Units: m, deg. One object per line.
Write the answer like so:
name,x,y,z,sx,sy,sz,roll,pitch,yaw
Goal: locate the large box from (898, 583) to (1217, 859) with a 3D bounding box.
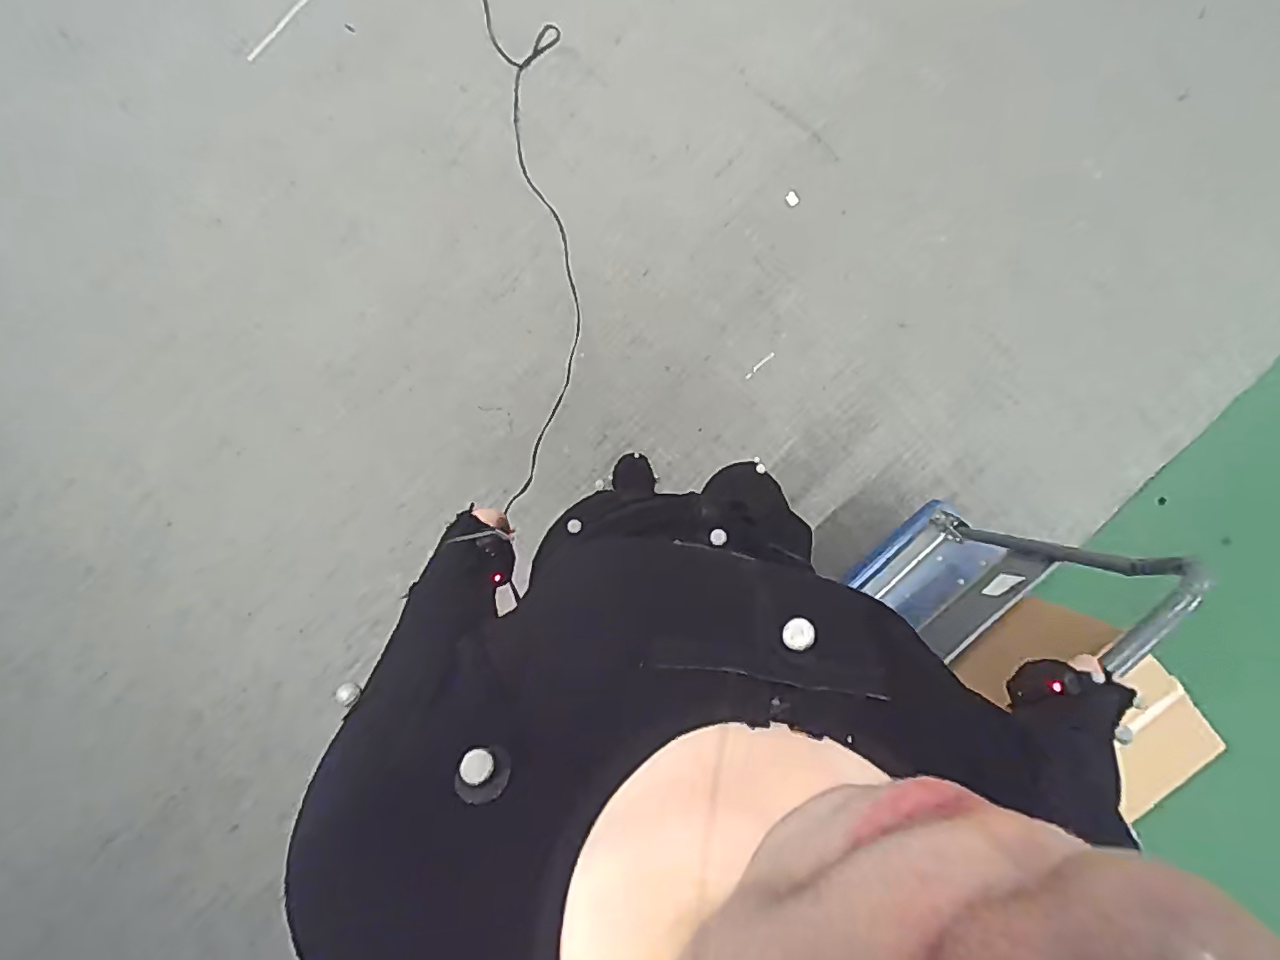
large box,0.886,0.502,1.206,0.408,0.320,0.320,-41,91,2
